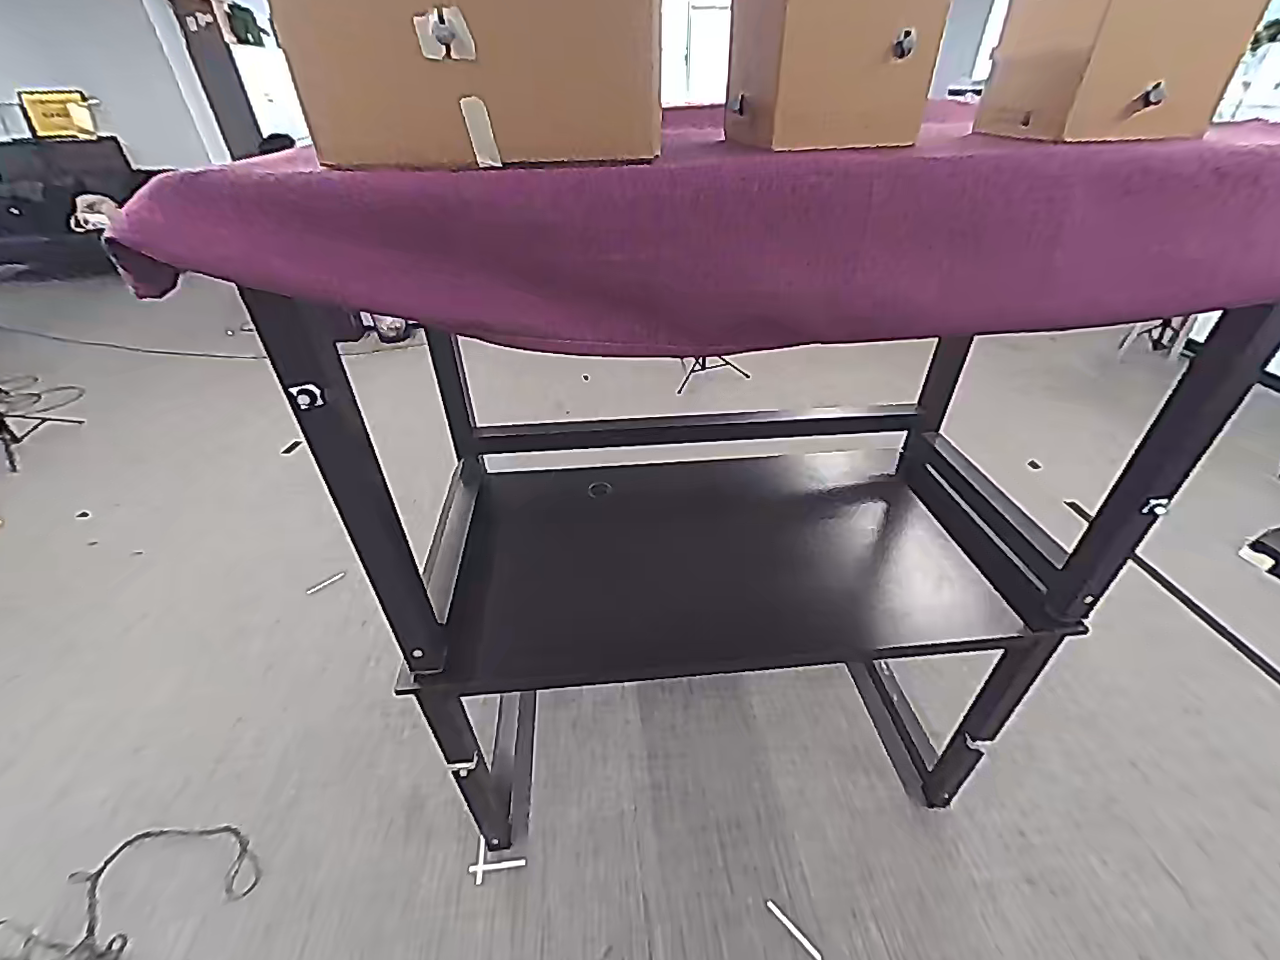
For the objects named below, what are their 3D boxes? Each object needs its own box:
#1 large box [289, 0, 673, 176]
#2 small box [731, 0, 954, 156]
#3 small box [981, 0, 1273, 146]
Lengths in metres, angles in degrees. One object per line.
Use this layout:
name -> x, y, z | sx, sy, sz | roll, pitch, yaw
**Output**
large box -> -0.139, -0.517, 0.564 | 0.320, 0.320, 0.408 | -2, 35, -2
small box -> 0.212, -0.472, 0.606 | 0.179, 0.176, 0.168 | -7, 36, -8
small box -> 0.536, -0.485, 0.611 | 0.179, 0.176, 0.168 | -3, 35, -4
